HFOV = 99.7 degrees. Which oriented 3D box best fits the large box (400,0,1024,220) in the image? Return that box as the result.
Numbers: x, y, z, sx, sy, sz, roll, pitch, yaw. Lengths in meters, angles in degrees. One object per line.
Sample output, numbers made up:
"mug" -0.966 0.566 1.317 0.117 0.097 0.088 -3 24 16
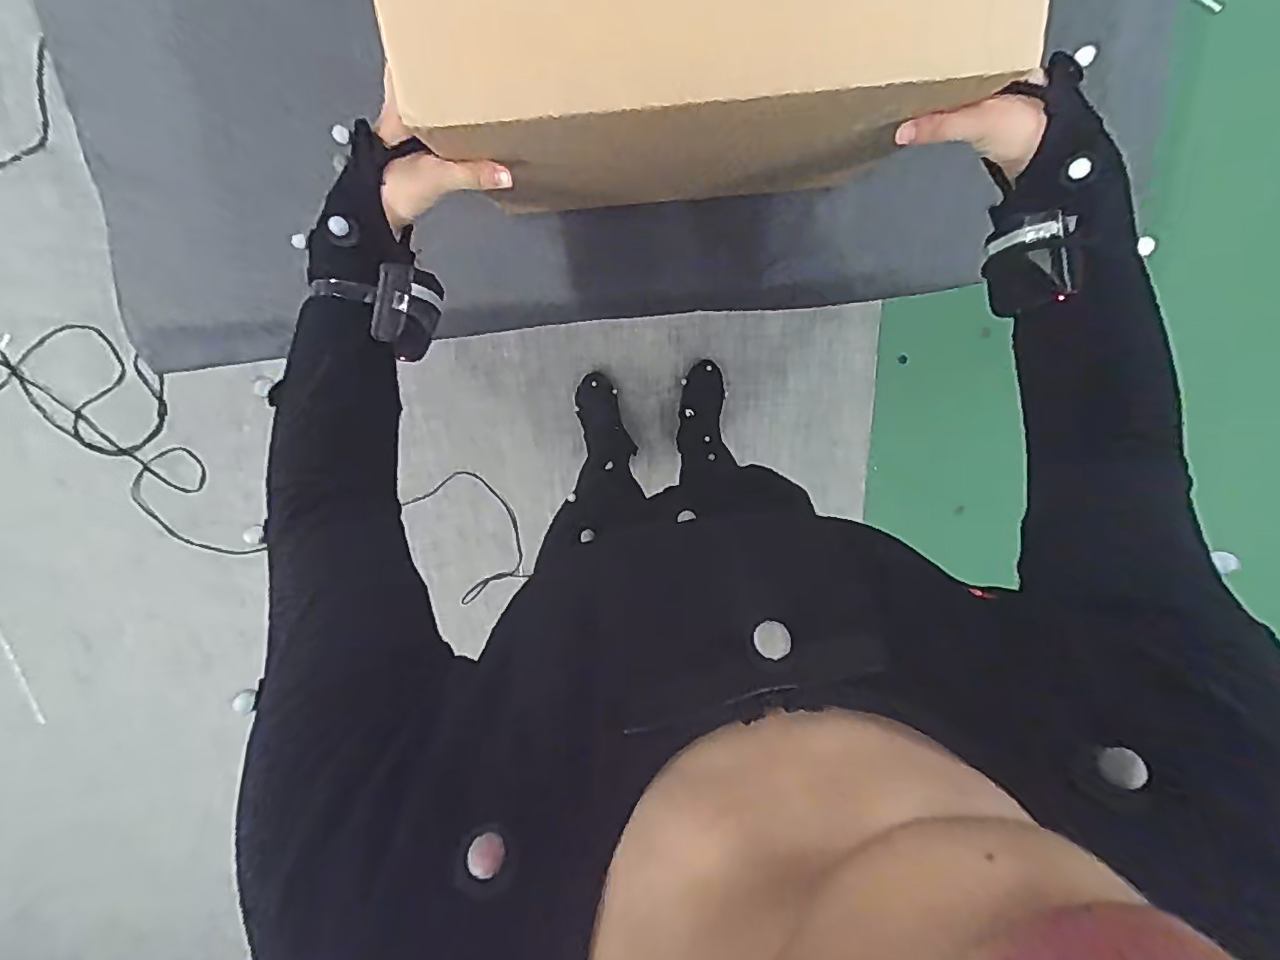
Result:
"large box" 0.031 -0.434 0.457 0.408 0.320 0.320 -6 107 -1
